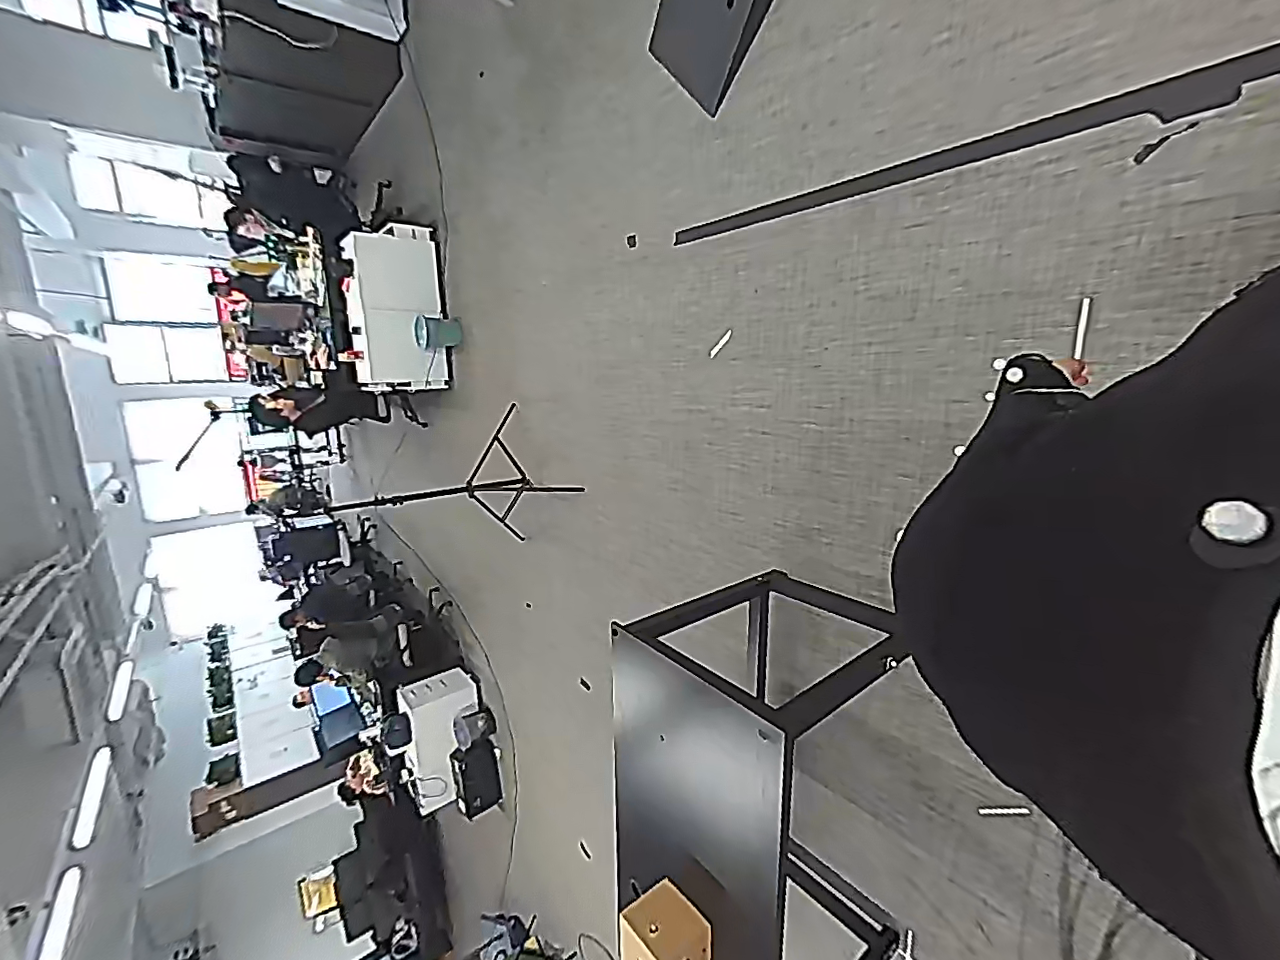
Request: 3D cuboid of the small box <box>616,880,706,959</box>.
[{"bbox_3d":[0.057,1.203,1.406,0.179,0.176,0.168,14,108,51],"label":"small box"}]
